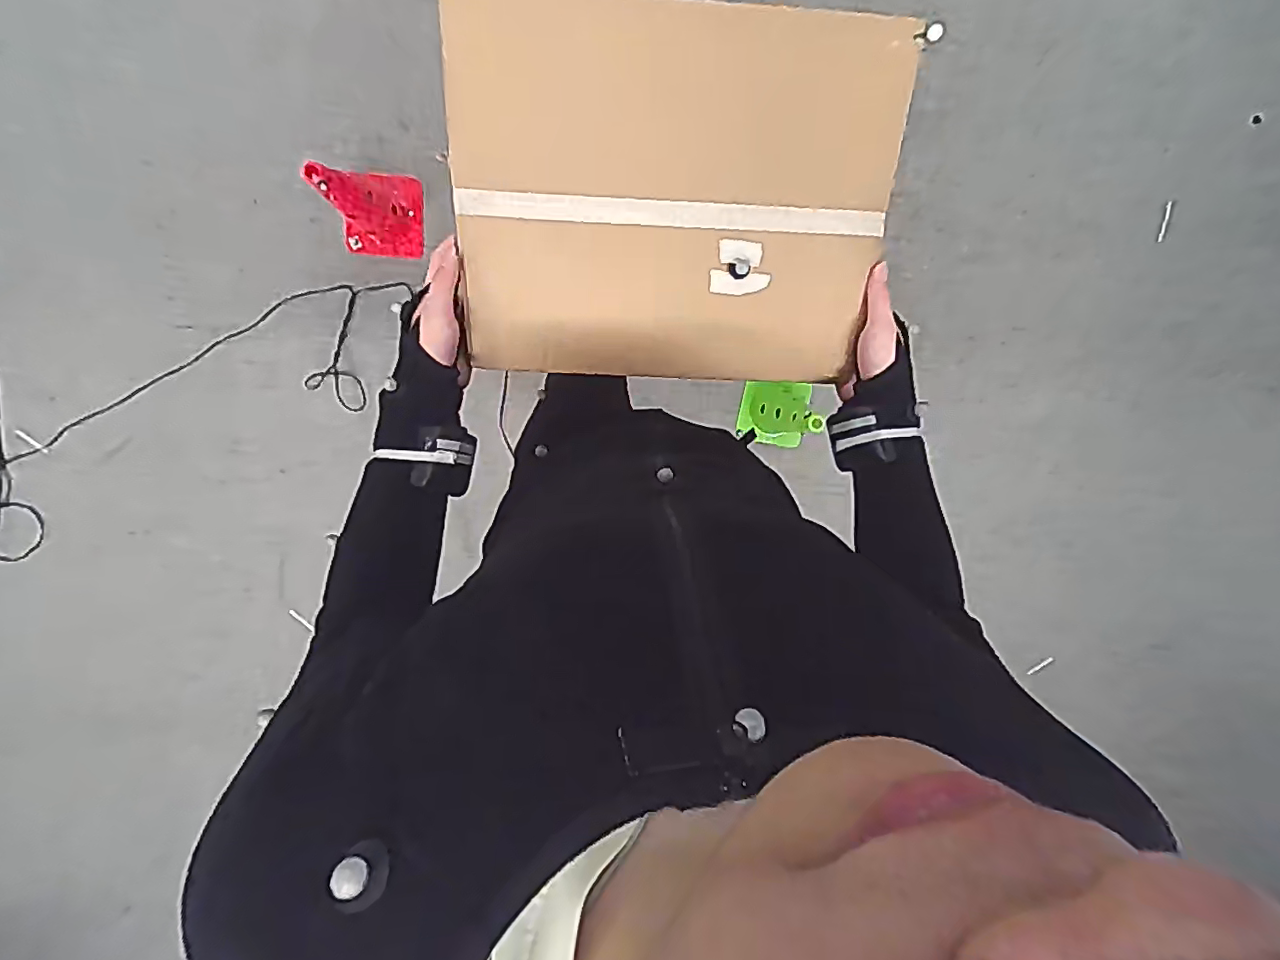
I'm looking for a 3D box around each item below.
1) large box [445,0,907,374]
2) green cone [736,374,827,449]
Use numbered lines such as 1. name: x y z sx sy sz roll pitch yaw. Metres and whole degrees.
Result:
1. large box: 0.022 -0.316 0.652 0.408 0.320 0.320 1 115 -4
2. green cone: 0.405 -0.167 1.424 0.200 0.368 0.202 8 101 -5
